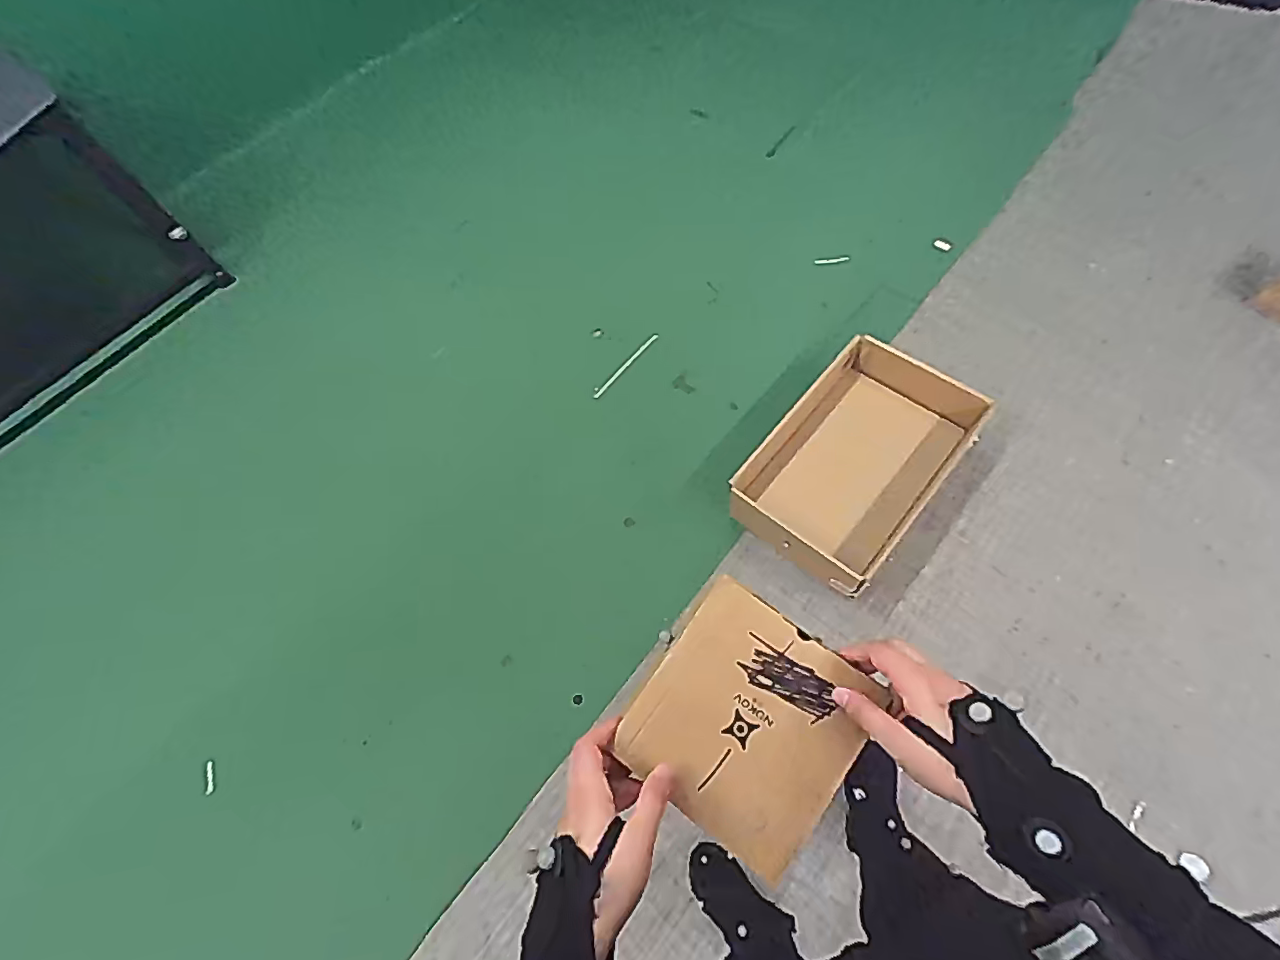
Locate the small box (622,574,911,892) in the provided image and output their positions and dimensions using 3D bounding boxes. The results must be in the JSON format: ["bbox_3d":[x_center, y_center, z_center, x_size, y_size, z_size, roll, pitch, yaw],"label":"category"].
[{"bbox_3d":[0.102,0.208,0.501,0.168,0.176,0.179,35,81,11],"label":"small box"}]

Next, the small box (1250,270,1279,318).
[{"bbox_3d":[1.907,-0.561,1.522,0.179,0.176,0.168,-37,65,-10],"label":"small box"}]
